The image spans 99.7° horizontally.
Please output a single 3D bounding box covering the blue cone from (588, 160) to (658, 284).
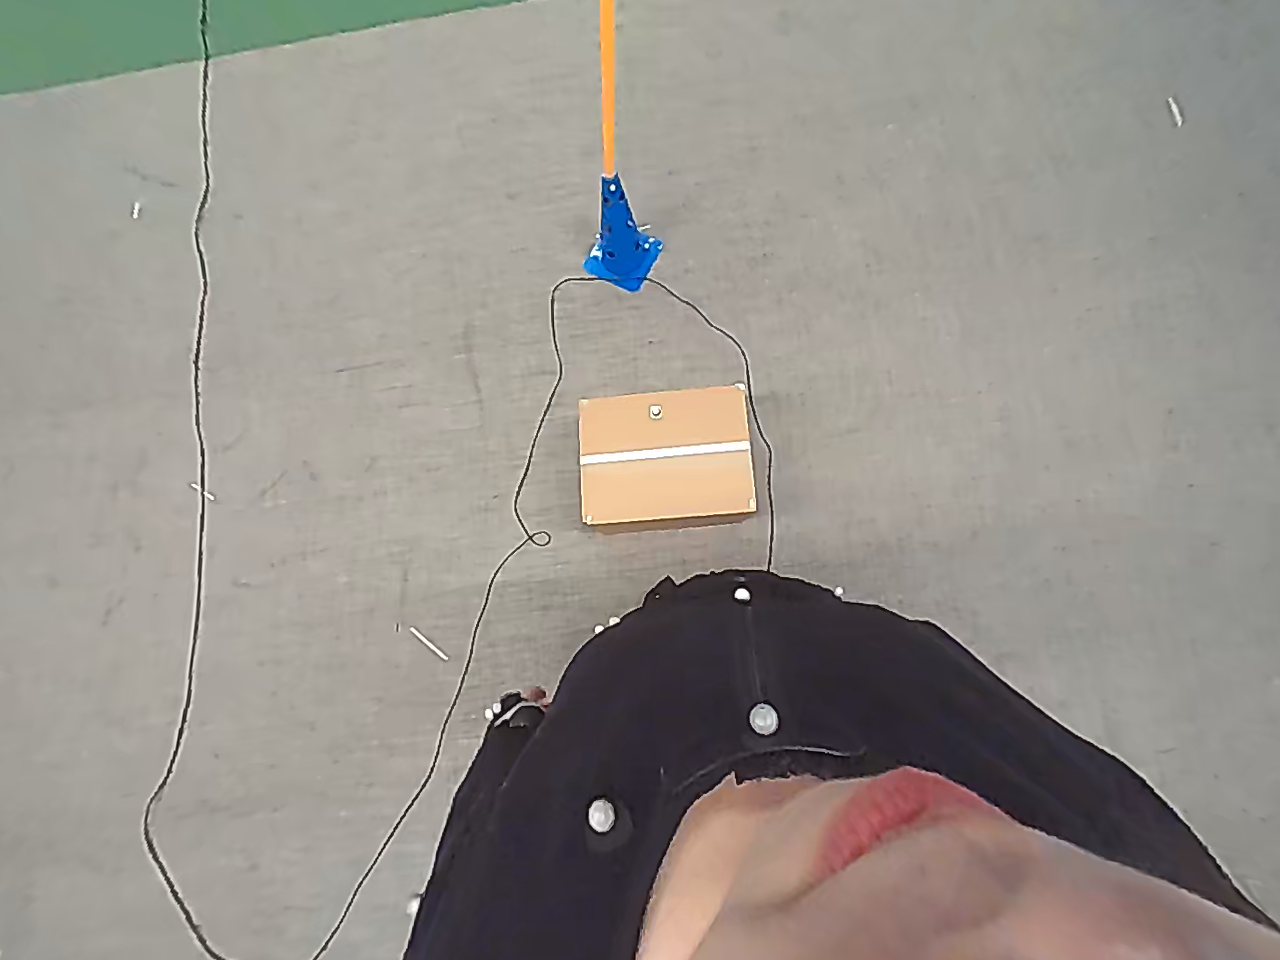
[{"bbox_3d":[-0.063,-0.754,1.540,0.192,0.380,0.193,25,81,8],"label":"blue cone"}]
